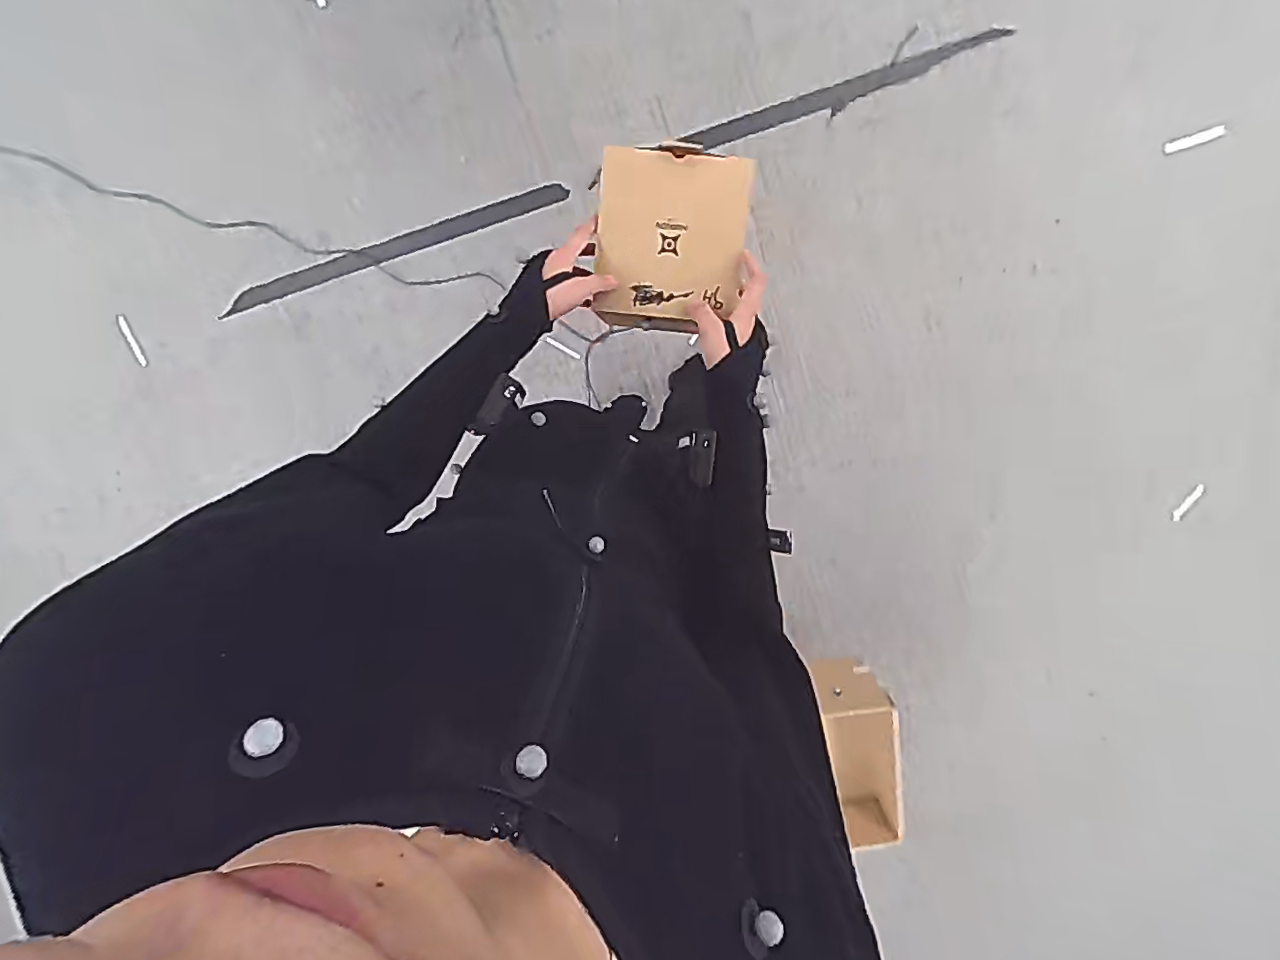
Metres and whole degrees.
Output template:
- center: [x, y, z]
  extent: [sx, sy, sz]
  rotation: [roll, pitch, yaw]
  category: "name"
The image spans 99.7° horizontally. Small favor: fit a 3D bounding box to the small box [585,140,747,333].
- center: [0.028, -0.283, 0.665]
  extent: [0.168, 0.176, 0.179]
  rotation: [5, 101, 1]
  category: "small box"
